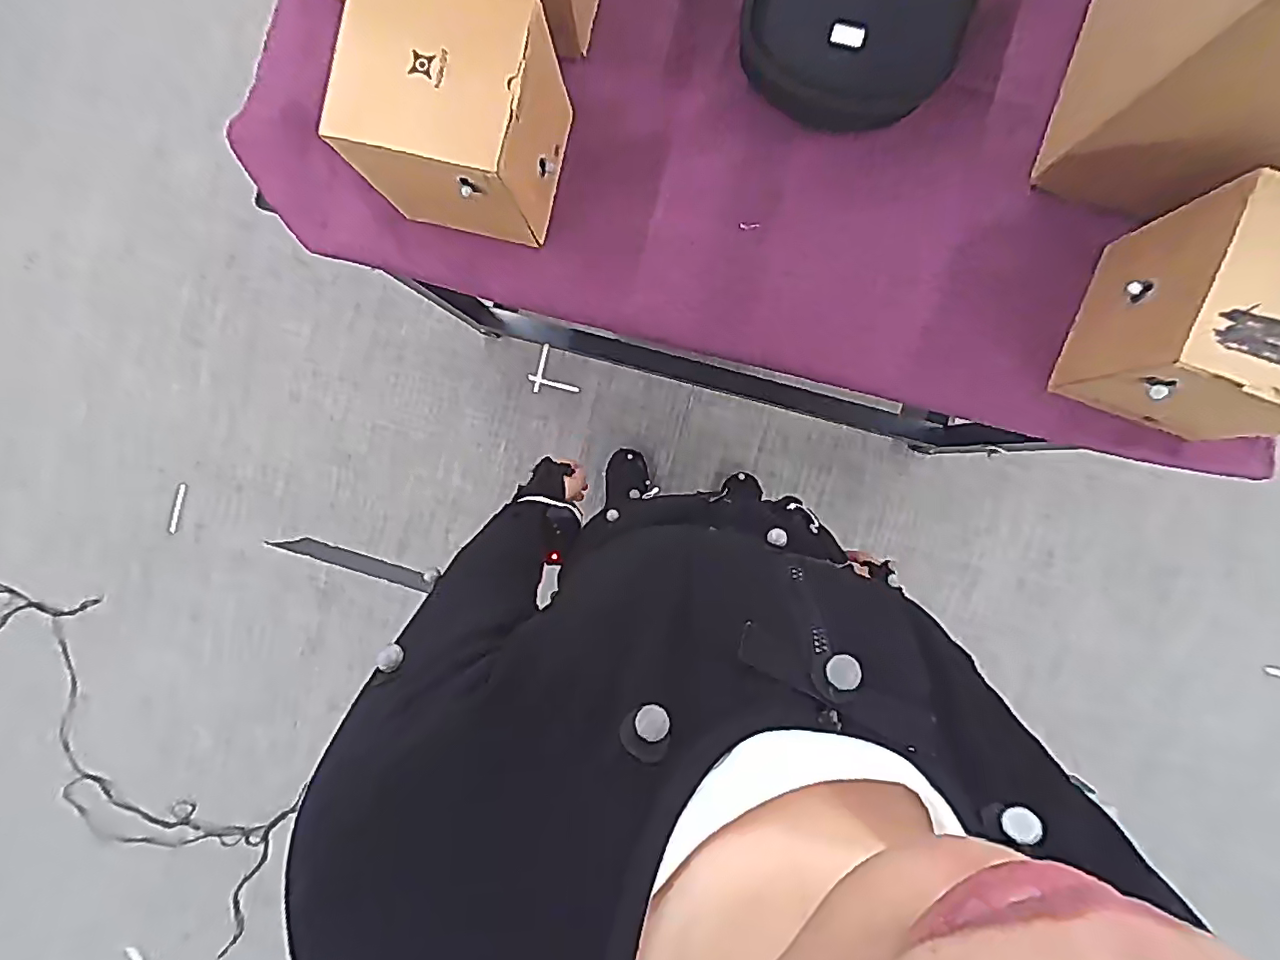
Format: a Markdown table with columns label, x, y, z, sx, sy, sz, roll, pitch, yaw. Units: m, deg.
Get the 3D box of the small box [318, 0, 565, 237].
| label | x | y | z | sx | sy | sz | roll | pitch | yaw |
| --- | --- | --- | --- | --- | --- | --- | --- | --- | --- |
| small box | -0.192 | -0.383 | 0.572 | 0.179 | 0.176 | 0.168 | 13 | 92 | 2 |
